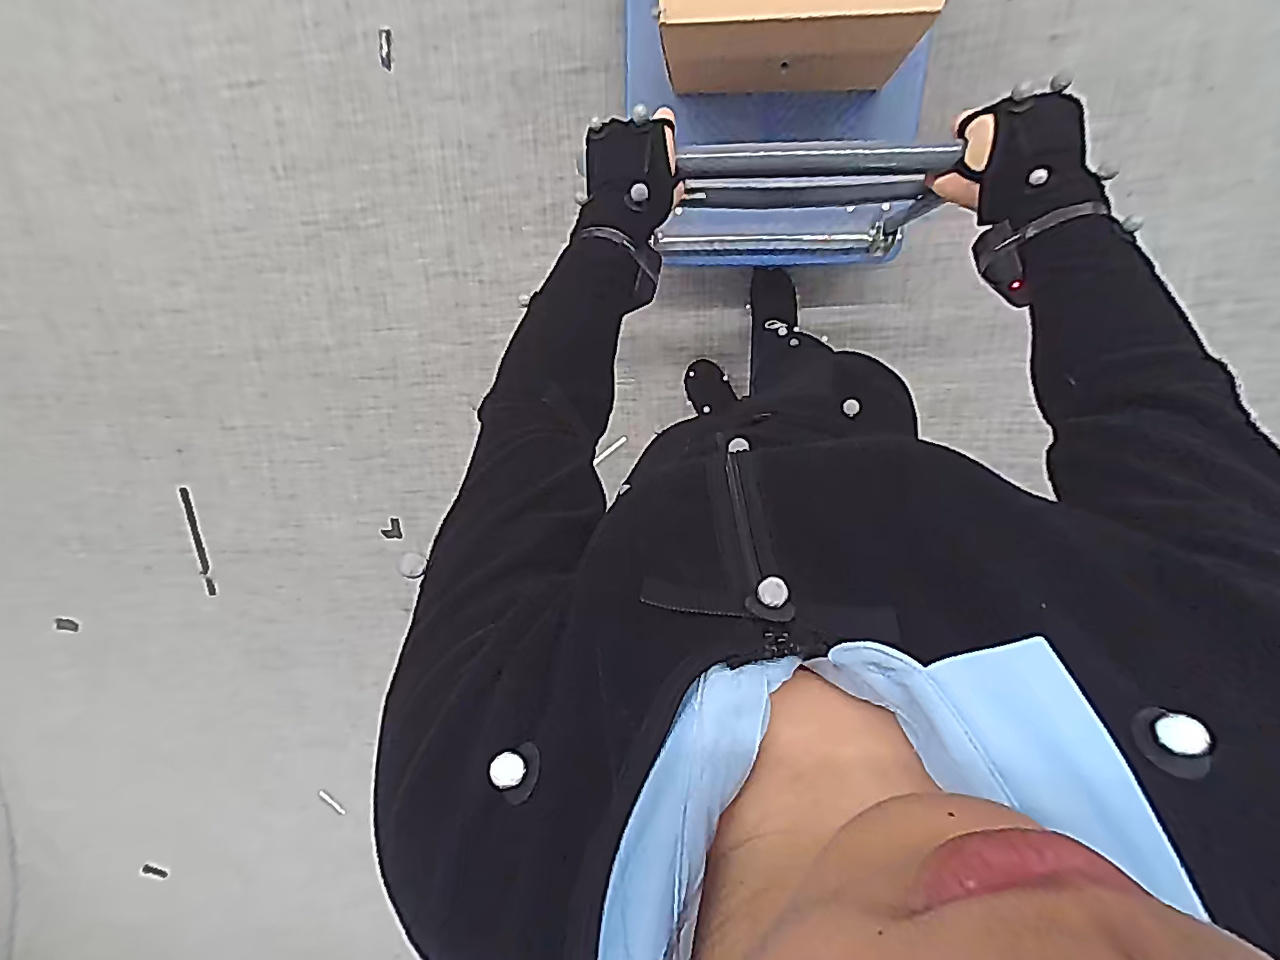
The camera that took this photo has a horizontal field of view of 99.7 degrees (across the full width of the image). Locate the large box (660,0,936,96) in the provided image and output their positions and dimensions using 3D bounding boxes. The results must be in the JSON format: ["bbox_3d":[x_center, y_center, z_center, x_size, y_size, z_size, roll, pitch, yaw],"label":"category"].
[{"bbox_3d":[0.251,-0.873,0.895,0.408,0.320,0.320,3,108,8],"label":"large box"}]
